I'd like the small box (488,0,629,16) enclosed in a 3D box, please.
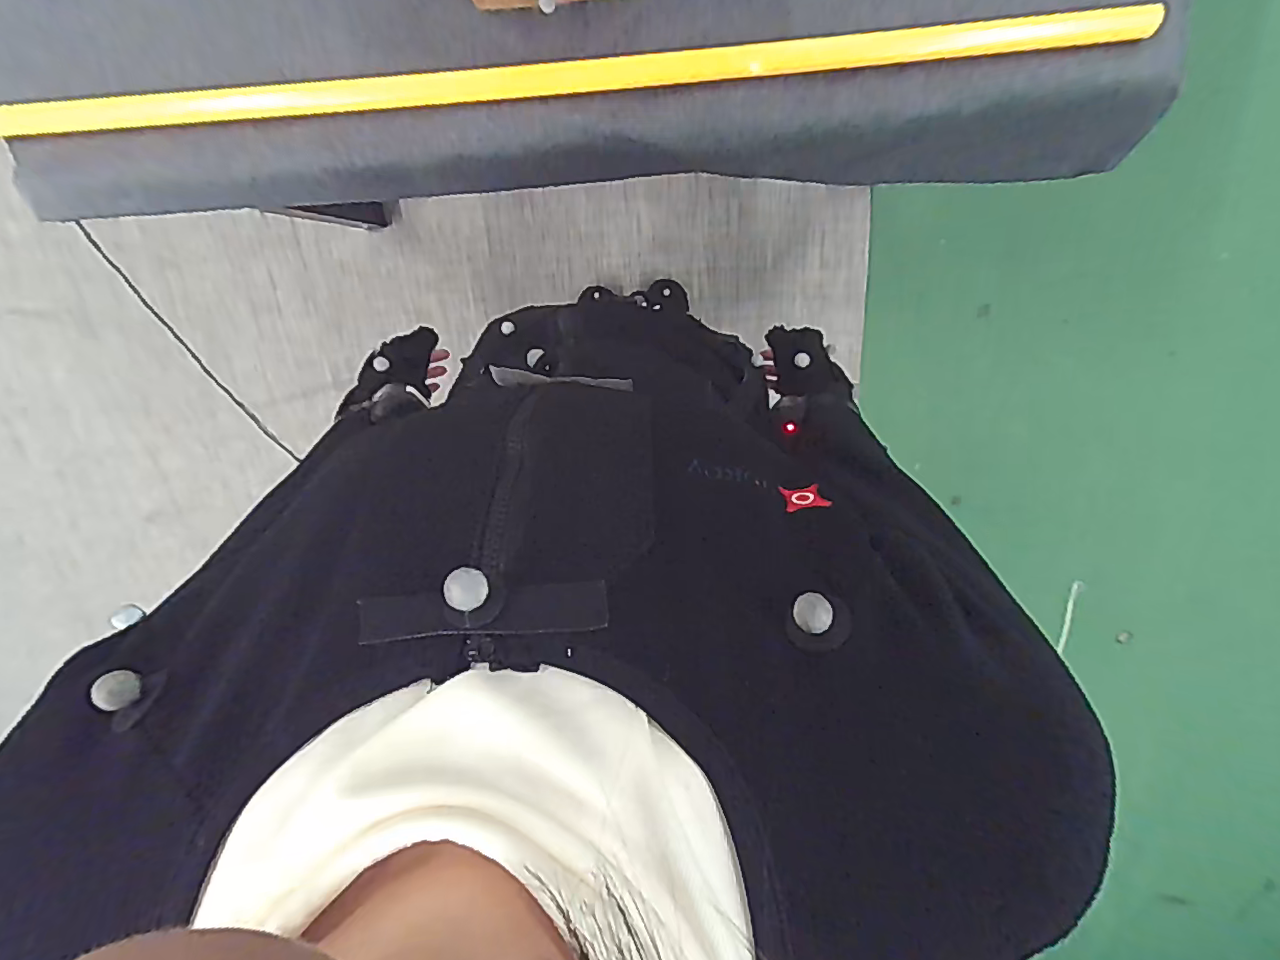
[{"bbox_3d":[-0.082,-0.520,0.429,0.168,0.176,0.179,-5,111,4],"label":"small box"}]
